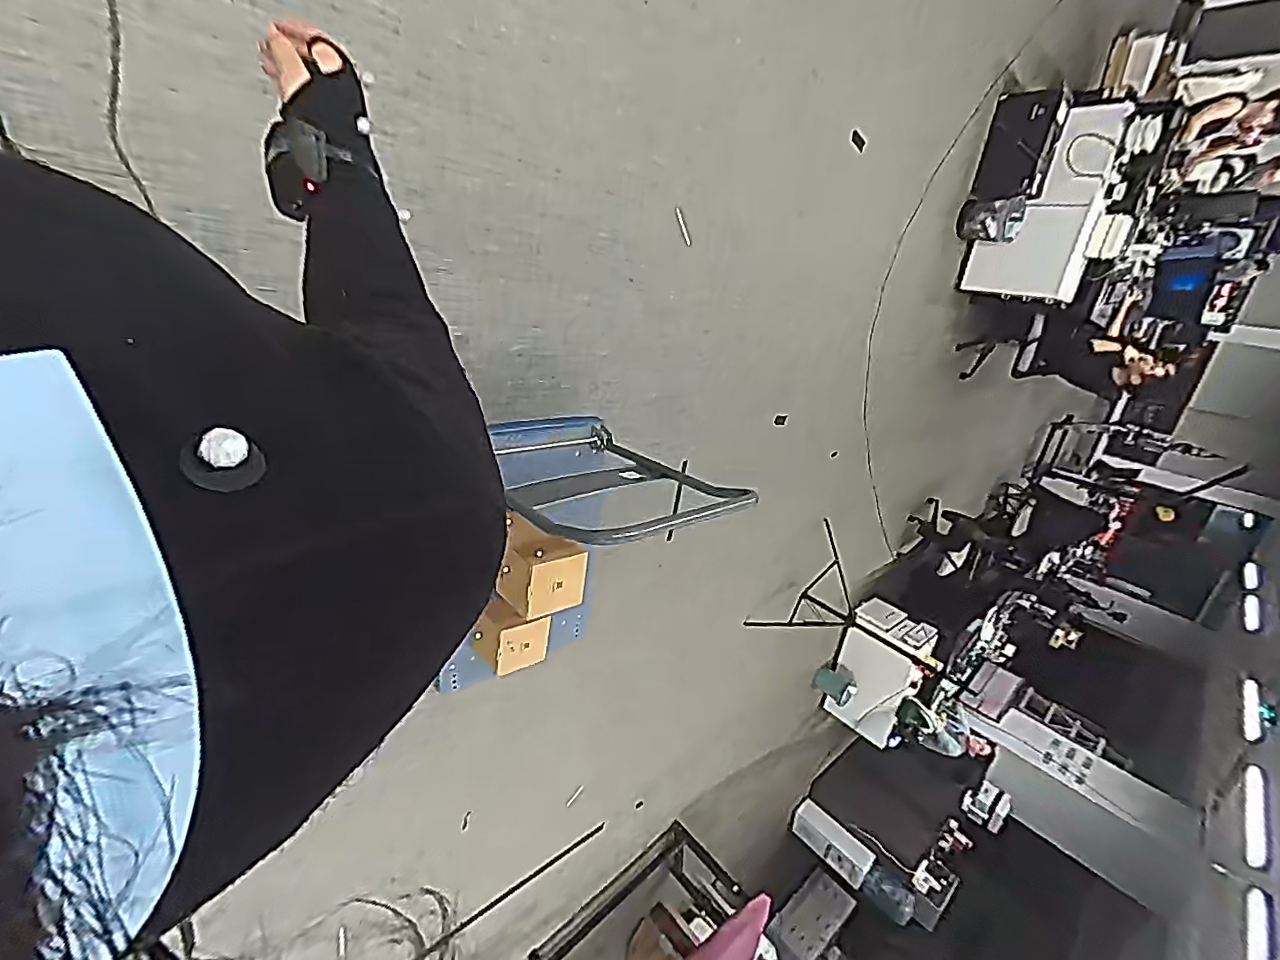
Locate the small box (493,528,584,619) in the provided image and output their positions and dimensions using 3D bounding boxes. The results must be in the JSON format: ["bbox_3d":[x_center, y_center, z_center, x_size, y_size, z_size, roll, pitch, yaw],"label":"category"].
[{"bbox_3d":[-0.278,0.244,1.472,0.179,0.176,0.168,-9,117,-41],"label":"small box"}]

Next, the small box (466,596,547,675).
[{"bbox_3d":[-0.420,0.471,1.694,0.179,0.176,0.168,-7,114,-43],"label":"small box"}]
